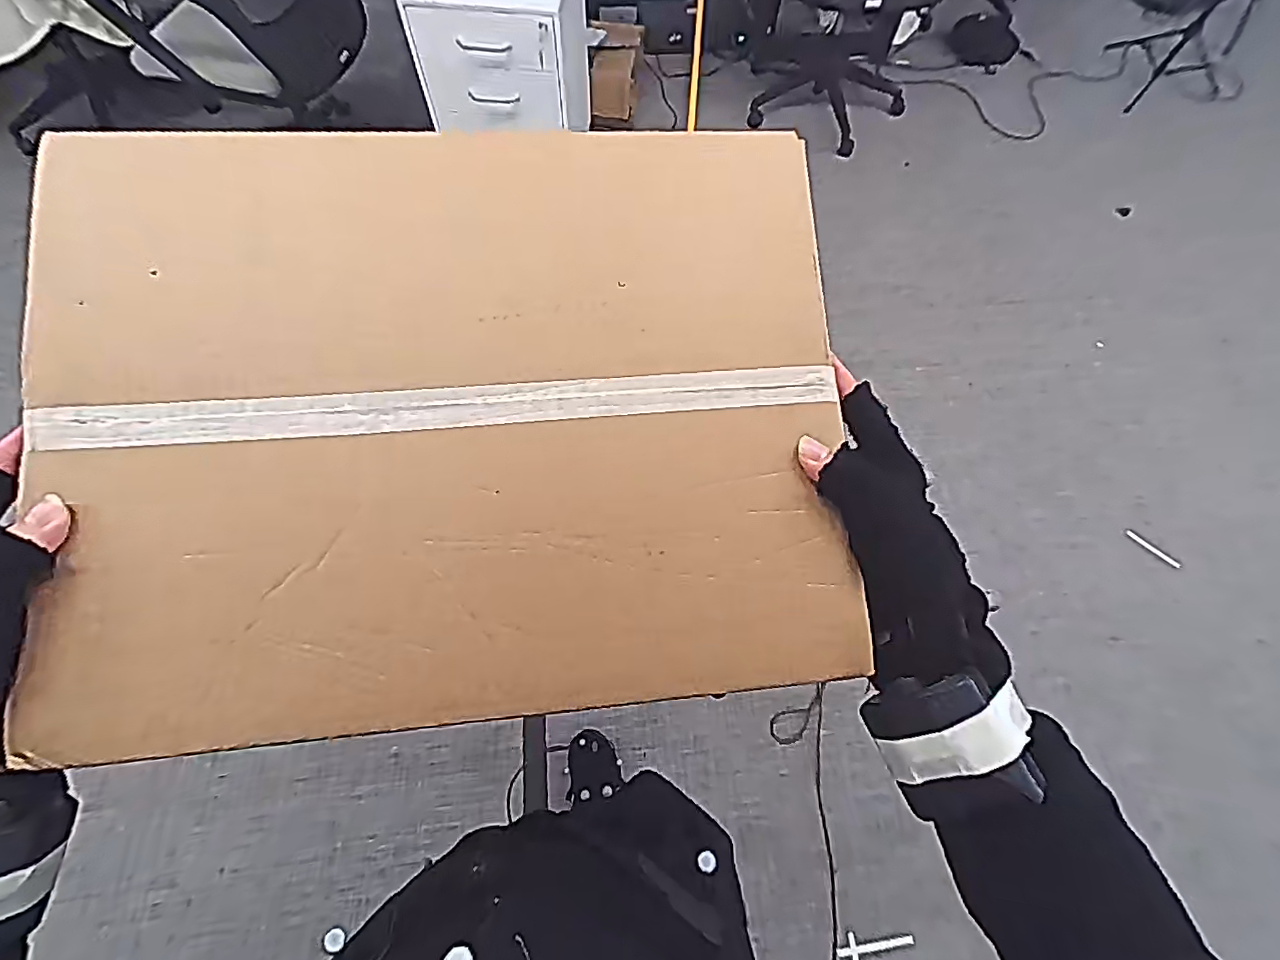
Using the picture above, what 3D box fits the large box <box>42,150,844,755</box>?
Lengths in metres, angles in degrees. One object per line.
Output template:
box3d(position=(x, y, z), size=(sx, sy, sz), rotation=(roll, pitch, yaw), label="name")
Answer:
box3d(position=(-0.109, -0.018, 0.439), size=(0.408, 0.320, 0.320), rotation=(-4, 82, -6), label="large box")
